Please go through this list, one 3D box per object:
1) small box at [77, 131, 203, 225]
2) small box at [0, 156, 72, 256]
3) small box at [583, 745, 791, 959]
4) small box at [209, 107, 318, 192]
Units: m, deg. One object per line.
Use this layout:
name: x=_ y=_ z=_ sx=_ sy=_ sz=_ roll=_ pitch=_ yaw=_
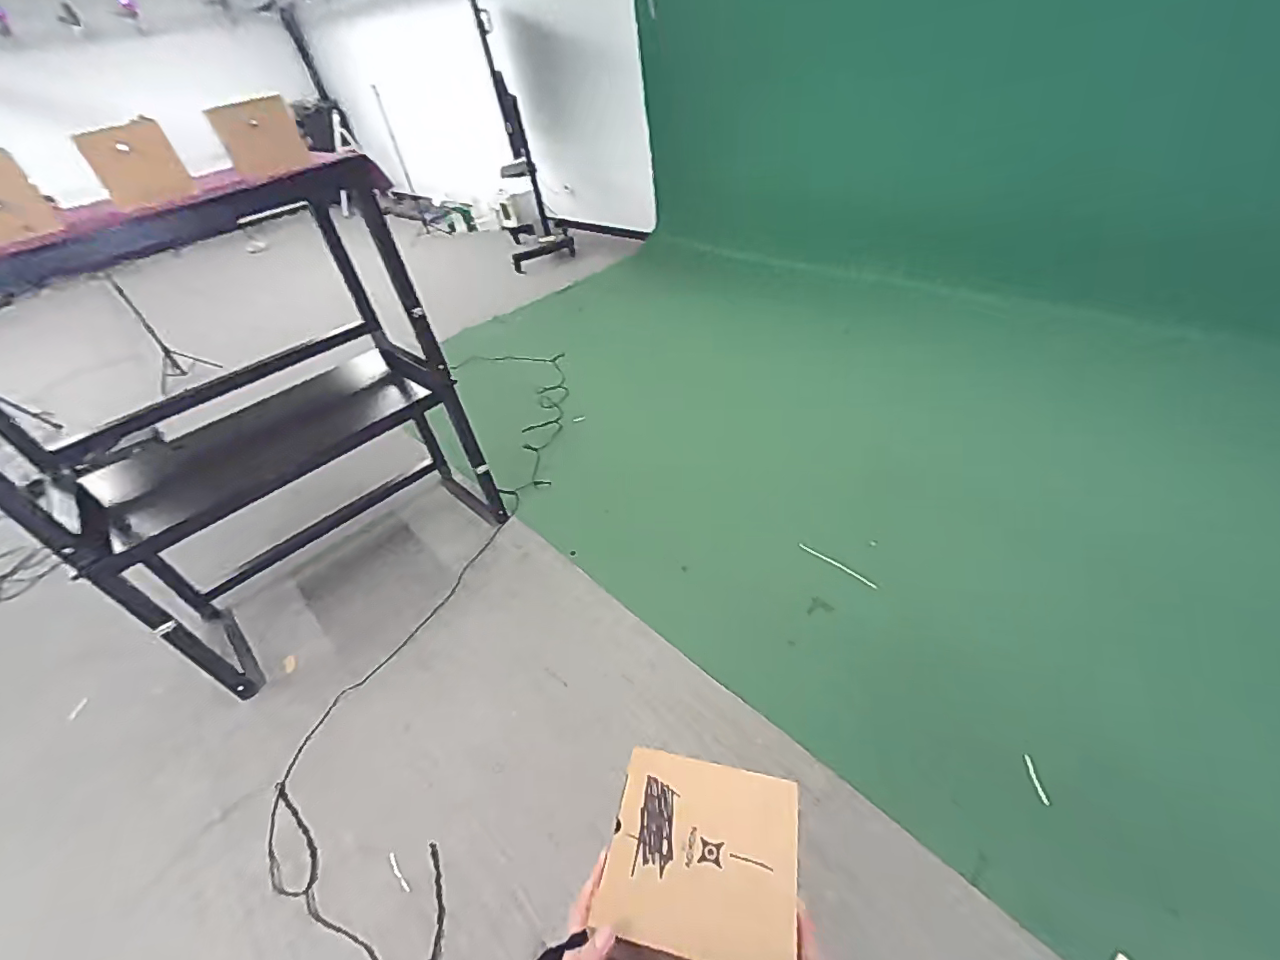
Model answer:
small box: x=-1.235 y=-0.755 z=1.348 sx=0.179 sy=0.176 sz=0.168 roll=-37 pitch=45 yaw=-27
small box: x=-1.436 y=-0.610 z=1.213 sx=0.168 sy=0.176 sz=0.179 roll=-36 pitch=45 yaw=-29
small box: x=0.055 y=0.406 z=0.548 sx=0.179 sy=0.176 sz=0.168 roll=6 pitch=34 yaw=12
small box: x=-1.026 y=-0.903 z=1.479 sx=0.179 sy=0.176 sz=0.168 roll=-34 pitch=46 yaw=-25
